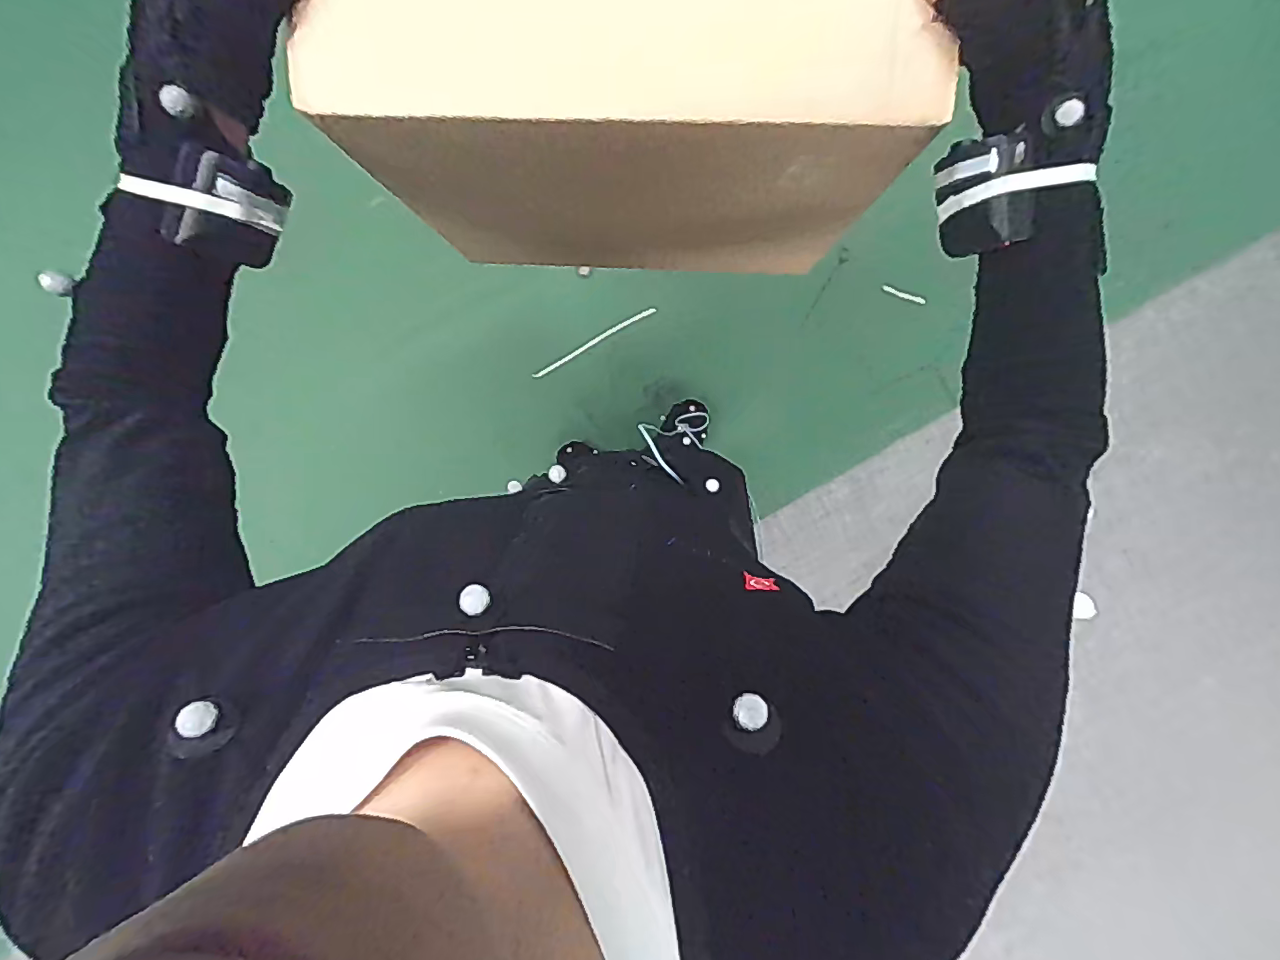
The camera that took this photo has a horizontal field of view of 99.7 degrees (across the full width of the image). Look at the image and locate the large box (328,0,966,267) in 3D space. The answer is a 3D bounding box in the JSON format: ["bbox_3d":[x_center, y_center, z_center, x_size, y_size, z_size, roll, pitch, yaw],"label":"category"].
[{"bbox_3d":[0.007,-0.395,0.477,0.408,0.320,0.320,3,96,0],"label":"large box"}]
